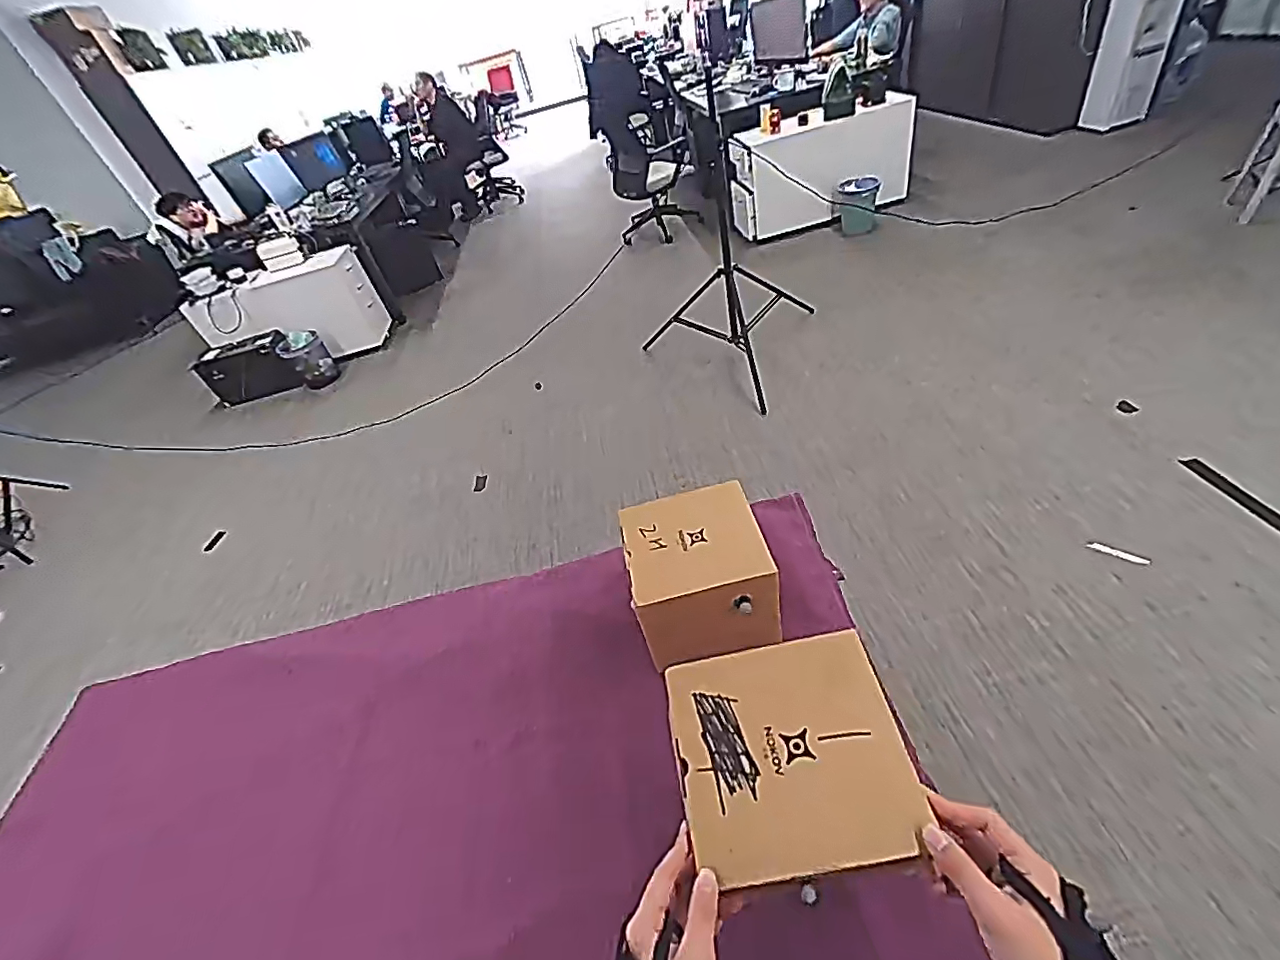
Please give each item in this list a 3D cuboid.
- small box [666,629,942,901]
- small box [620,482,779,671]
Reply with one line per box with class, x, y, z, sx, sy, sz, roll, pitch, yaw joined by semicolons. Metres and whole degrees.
small box;0.134;0.261;0.486;0.179;0.176;0.168;-14;48;5
small box;0.082;0.134;0.741;0.179;0.176;0.168;-15;42;2
